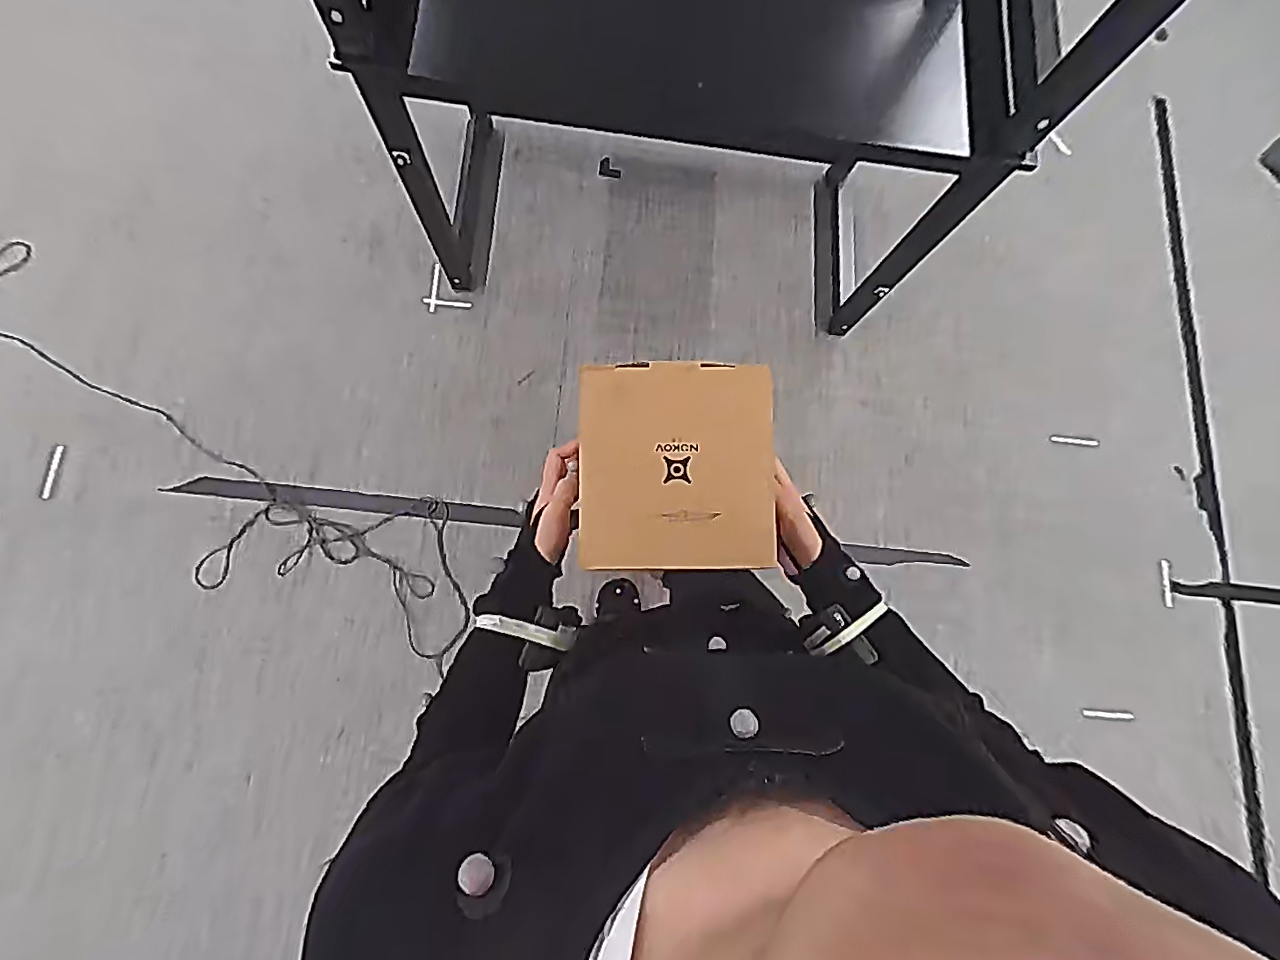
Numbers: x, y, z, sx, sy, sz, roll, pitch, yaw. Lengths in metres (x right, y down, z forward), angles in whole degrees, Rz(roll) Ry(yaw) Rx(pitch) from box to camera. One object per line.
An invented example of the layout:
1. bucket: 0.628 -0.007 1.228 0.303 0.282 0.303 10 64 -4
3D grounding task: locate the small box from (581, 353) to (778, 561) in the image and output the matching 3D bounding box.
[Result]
1. small box: 0.031 -0.013 0.530 0.168 0.176 0.179 0 85 0
